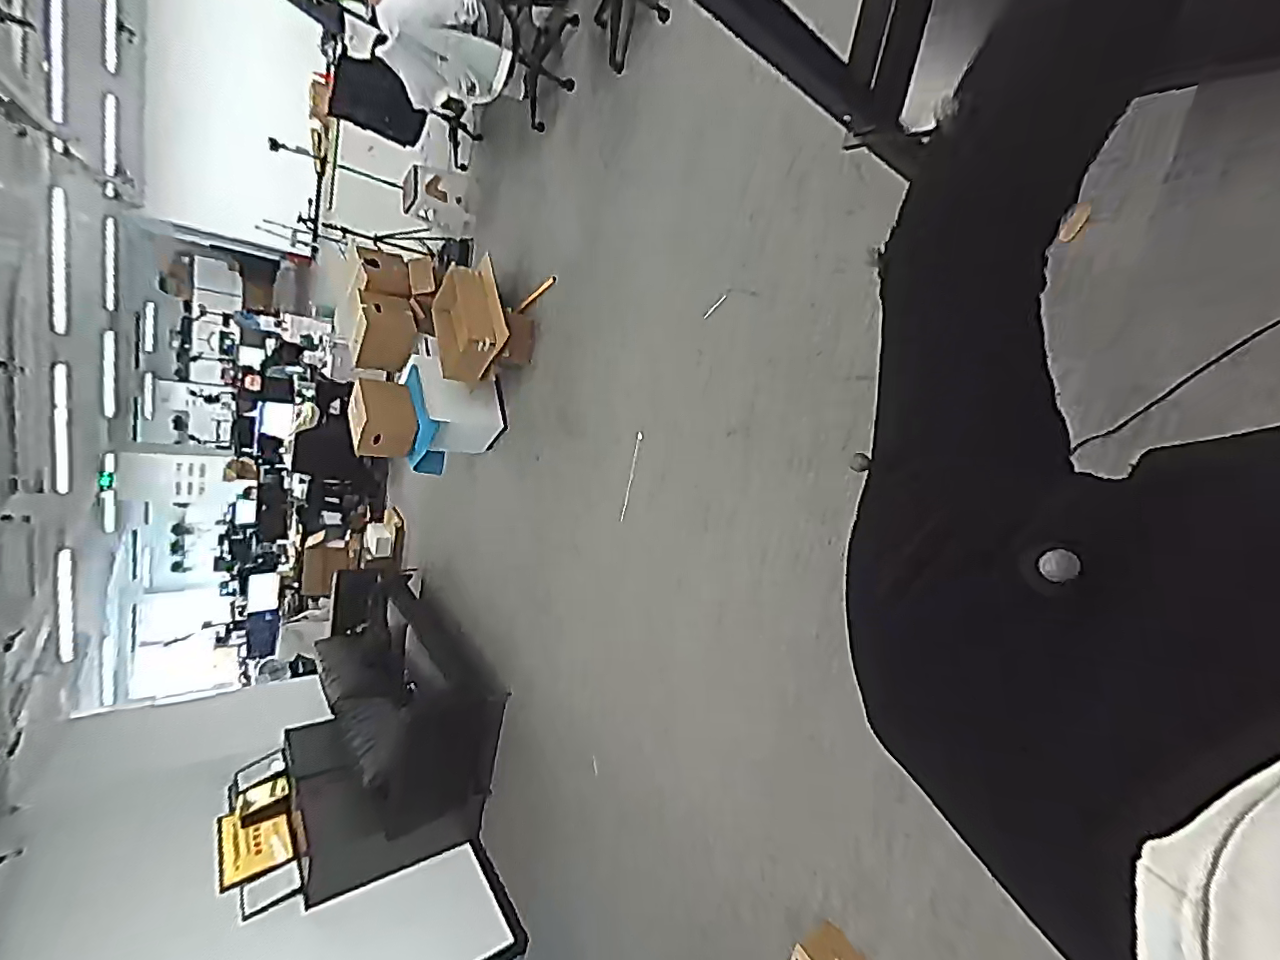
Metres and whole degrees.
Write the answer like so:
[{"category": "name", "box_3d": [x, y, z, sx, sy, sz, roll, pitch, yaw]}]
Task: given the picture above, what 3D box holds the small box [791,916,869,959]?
[{"category": "small box", "box_3d": [0.606, 1.567, 1.736, 0.179, 0.176, 0.168, 28, 110, 48]}]
